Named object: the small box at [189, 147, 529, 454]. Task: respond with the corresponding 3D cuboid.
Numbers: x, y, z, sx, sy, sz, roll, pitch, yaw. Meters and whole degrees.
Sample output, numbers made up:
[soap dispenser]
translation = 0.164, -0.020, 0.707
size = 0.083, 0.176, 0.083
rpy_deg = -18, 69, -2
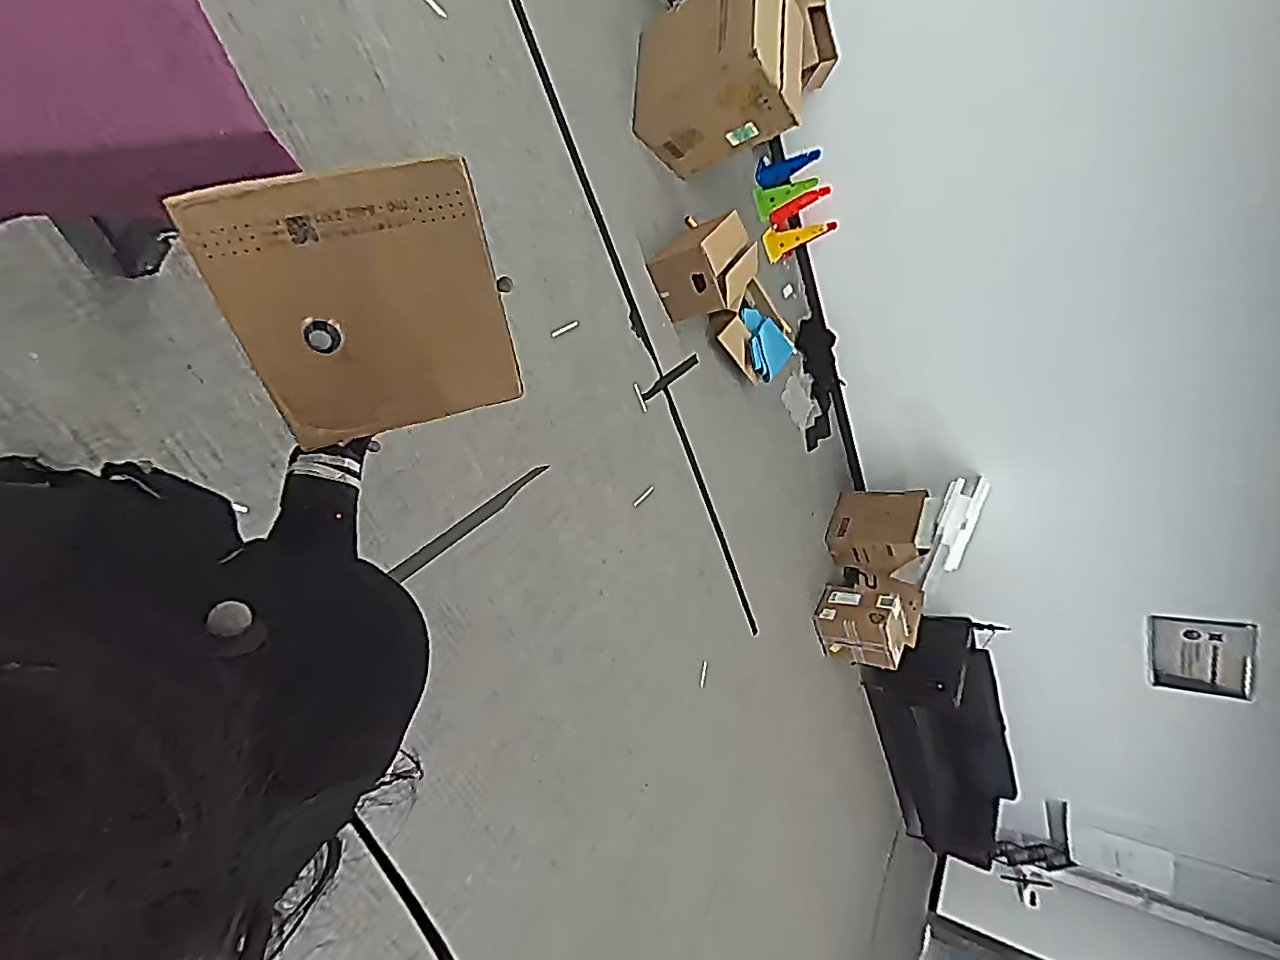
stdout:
[small box]
translation = -0.197, -0.149, 0.418
size = 0.168, 0.179, 0.176
rpy_deg = -15, 126, -15
